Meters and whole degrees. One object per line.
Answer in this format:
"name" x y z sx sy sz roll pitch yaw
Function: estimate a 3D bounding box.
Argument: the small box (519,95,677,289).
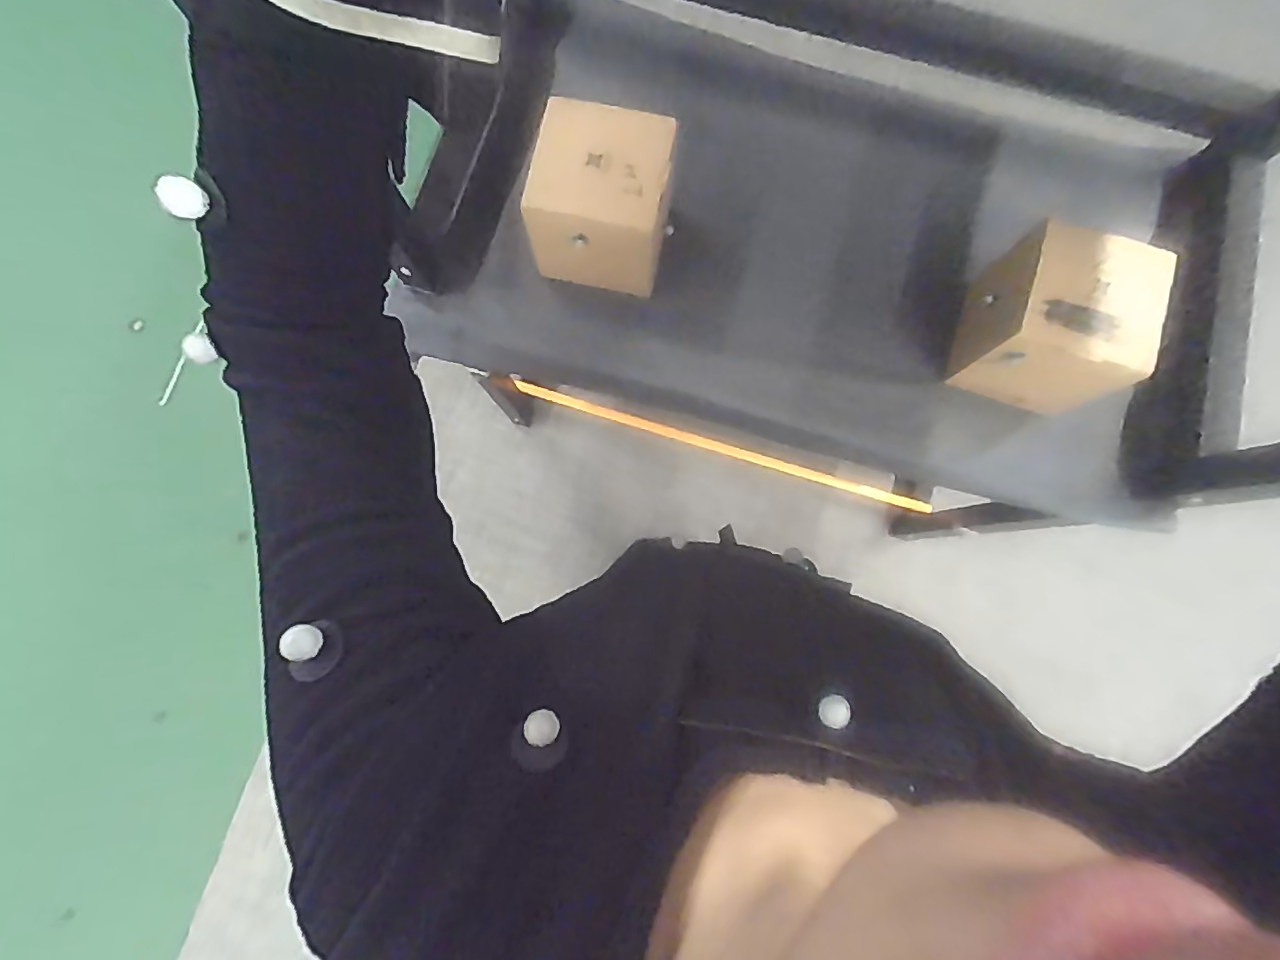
"small box" -0.053 -0.397 0.772 0.179 0.176 0.168 12 81 1
